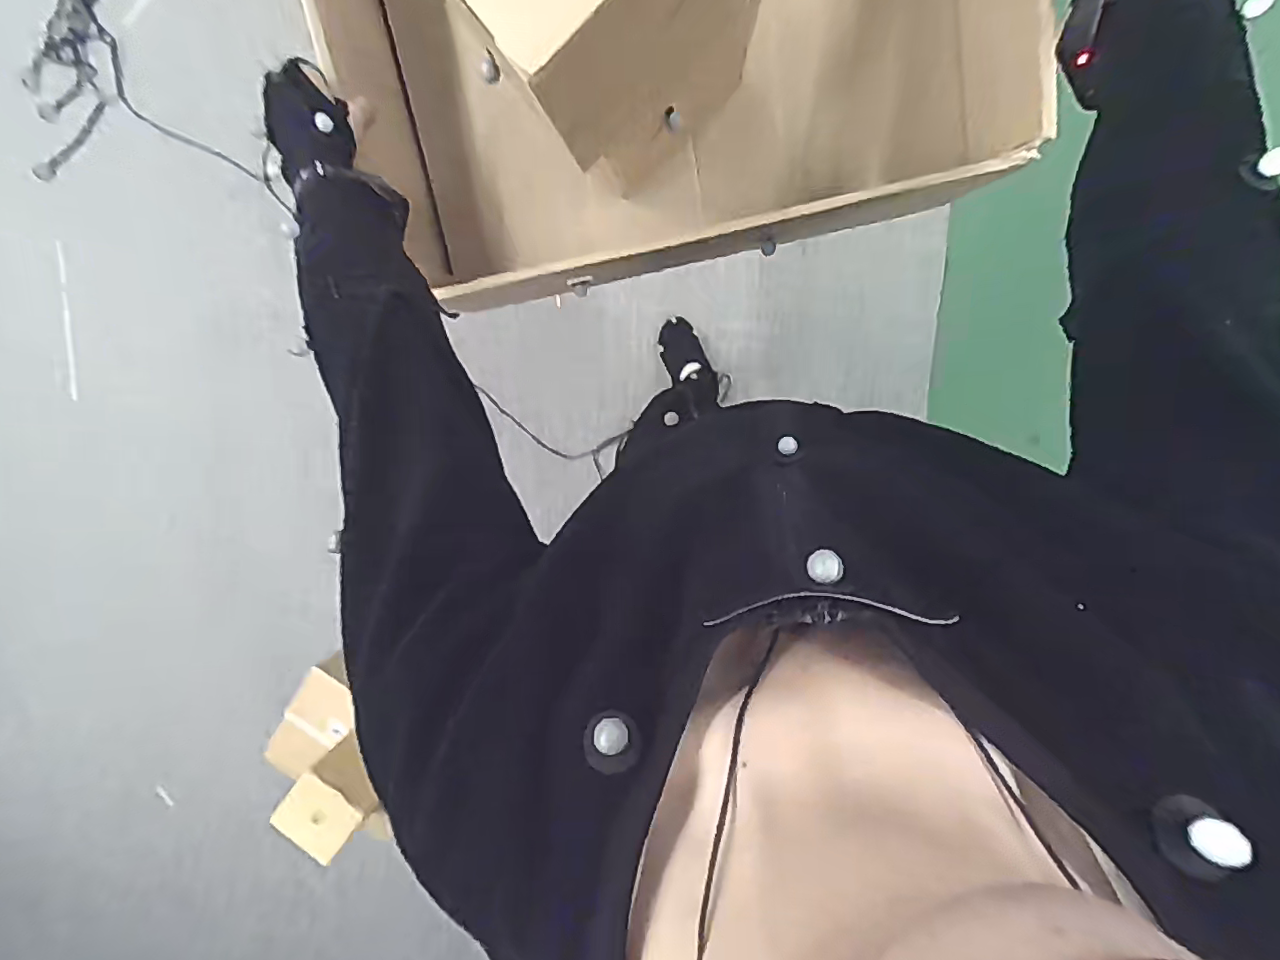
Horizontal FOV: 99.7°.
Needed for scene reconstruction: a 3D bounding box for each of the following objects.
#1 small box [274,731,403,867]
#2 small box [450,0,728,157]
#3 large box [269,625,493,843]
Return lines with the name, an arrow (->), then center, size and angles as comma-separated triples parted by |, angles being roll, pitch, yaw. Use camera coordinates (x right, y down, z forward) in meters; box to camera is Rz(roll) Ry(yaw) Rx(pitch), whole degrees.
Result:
small box -> -0.697, 0.740, 1.271 | 0.168, 0.176, 0.179 | 38, 100, 2
small box -> -0.045, -0.363, 0.356 | 0.179, 0.176, 0.168 | -38, 96, 14
large box -> -0.699, 0.682, 1.512 | 0.408, 0.320, 0.320 | 34, 99, 4
